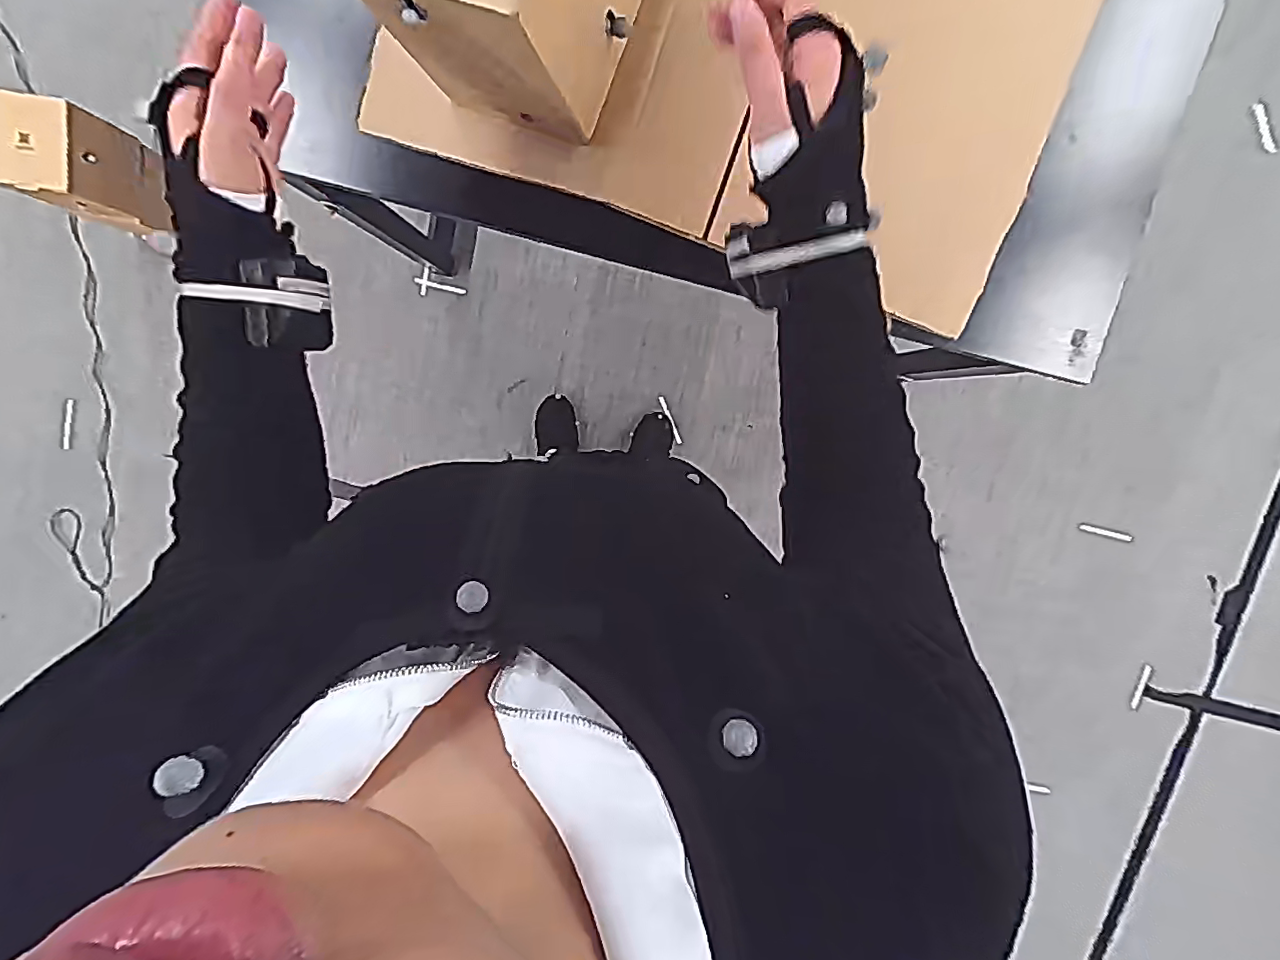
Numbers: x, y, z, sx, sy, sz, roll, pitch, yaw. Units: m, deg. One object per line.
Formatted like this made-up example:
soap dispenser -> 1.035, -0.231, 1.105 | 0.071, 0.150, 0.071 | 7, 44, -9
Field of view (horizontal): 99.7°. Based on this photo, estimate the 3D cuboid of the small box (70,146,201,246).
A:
small box -> -1.207, -0.690, 1.304 | 0.168, 0.176, 0.179 | 10, 98, -2

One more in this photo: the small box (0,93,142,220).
small box -> -1.206, -0.673, 1.143 | 0.168, 0.176, 0.179 | 7, 97, -3

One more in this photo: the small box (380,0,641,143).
small box -> -0.106, -0.435, 0.456 | 0.168, 0.176, 0.179 | 24, 97, 10
